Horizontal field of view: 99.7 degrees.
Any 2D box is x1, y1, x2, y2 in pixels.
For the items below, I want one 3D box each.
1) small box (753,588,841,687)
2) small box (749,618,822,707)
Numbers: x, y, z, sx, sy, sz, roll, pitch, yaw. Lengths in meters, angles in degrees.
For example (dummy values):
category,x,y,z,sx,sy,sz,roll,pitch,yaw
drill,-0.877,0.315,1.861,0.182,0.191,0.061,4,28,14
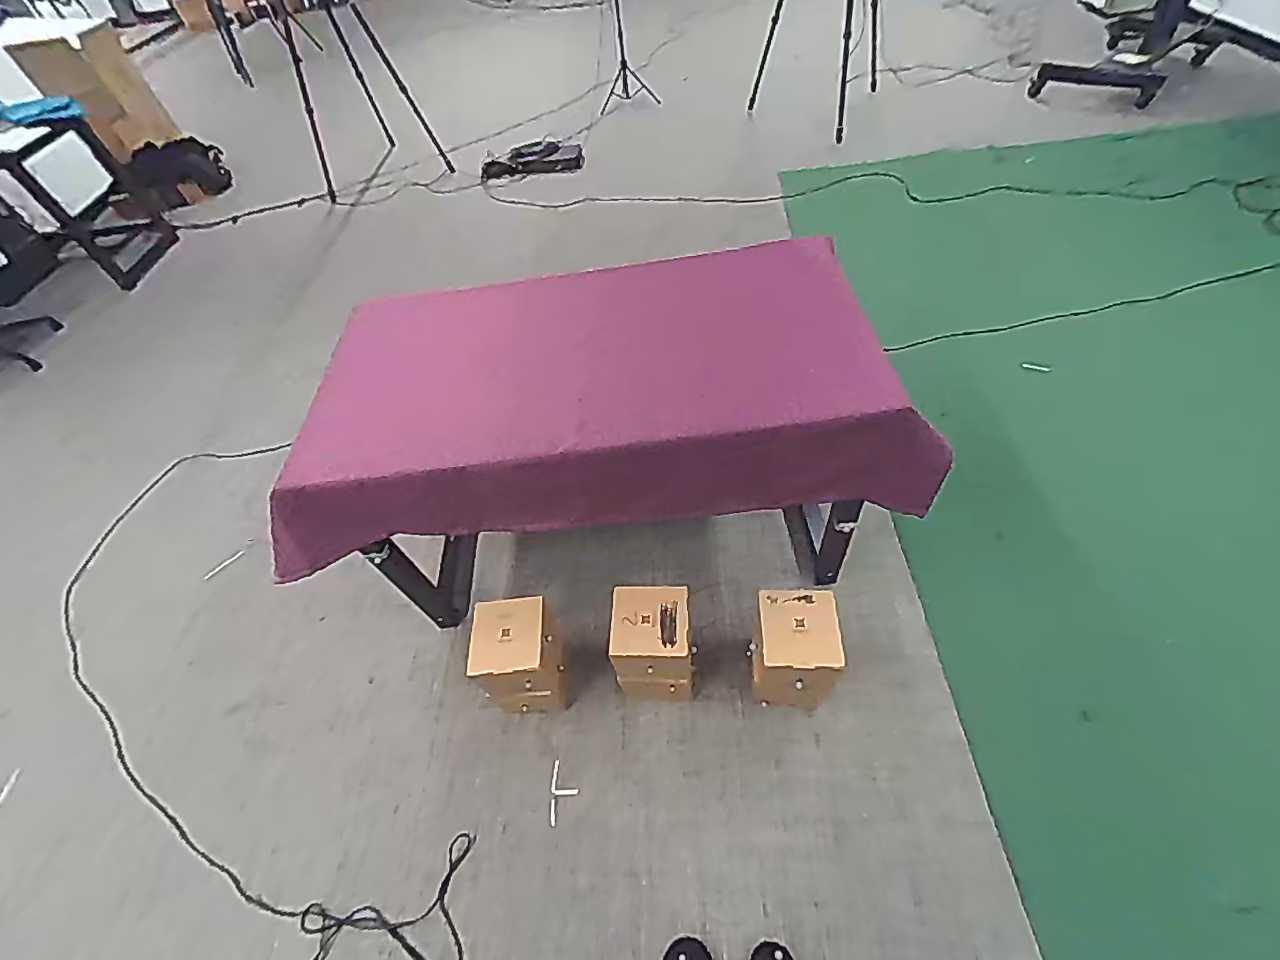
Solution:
category,x,y,z,sx,sy,sz,roll,pitch,yaw
small box,0.348,0.364,1.233,0.168,0.176,0.179,1,55,6
small box,0.365,0.459,1.368,0.168,0.176,0.179,2,53,10
